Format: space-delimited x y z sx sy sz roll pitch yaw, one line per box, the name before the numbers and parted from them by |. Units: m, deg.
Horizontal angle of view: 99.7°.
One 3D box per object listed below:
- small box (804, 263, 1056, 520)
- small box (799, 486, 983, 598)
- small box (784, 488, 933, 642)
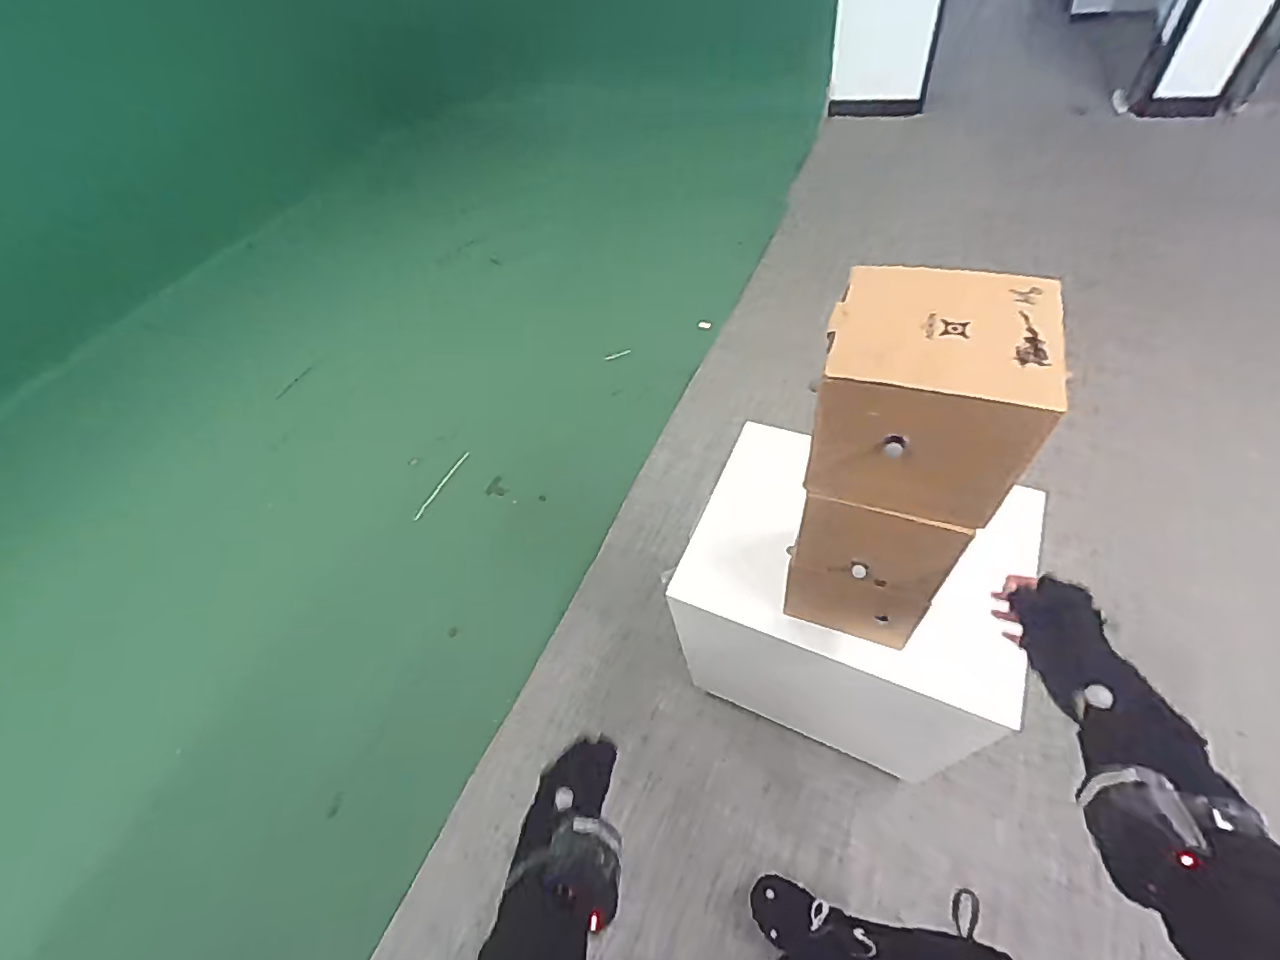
small box | 0.262 -0.082 0.517 0.179 0.176 0.168 13 58 21
small box | 0.293 0.012 0.647 0.168 0.176 0.179 12 56 20
small box | 0.314 0.113 0.775 0.179 0.176 0.168 13 57 22
